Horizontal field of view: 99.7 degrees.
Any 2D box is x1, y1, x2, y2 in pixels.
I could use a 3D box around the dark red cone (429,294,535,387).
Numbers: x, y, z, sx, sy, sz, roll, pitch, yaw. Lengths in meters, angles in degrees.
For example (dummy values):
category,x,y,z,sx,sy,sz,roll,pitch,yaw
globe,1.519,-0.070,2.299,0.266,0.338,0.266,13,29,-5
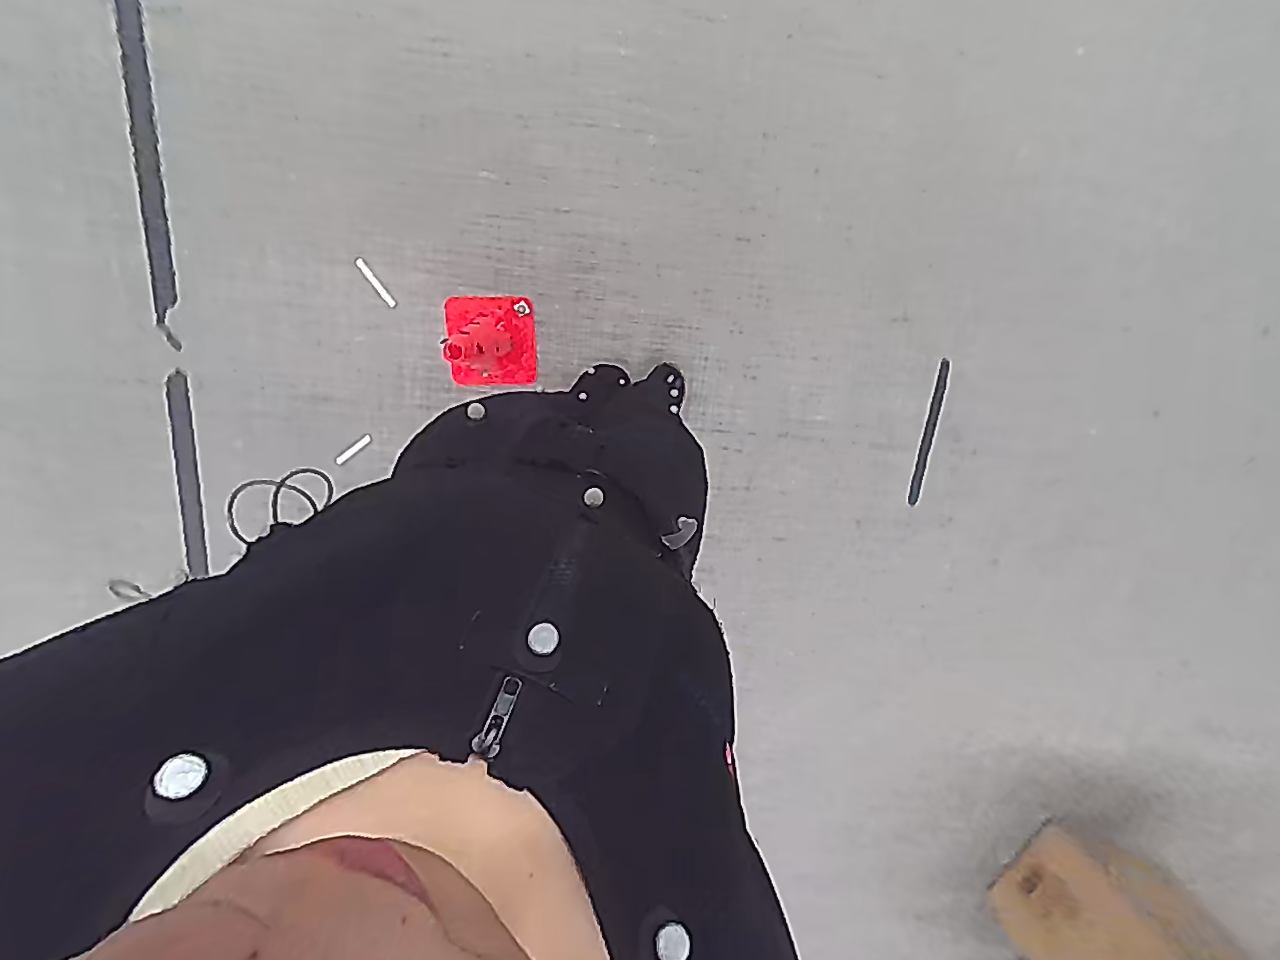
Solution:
category,x,y,z,sx,sy,sz,roll,pitch,yaw
dark red cone,-0.334,-0.264,1.063,0.201,0.394,0.202,-2,108,-3
